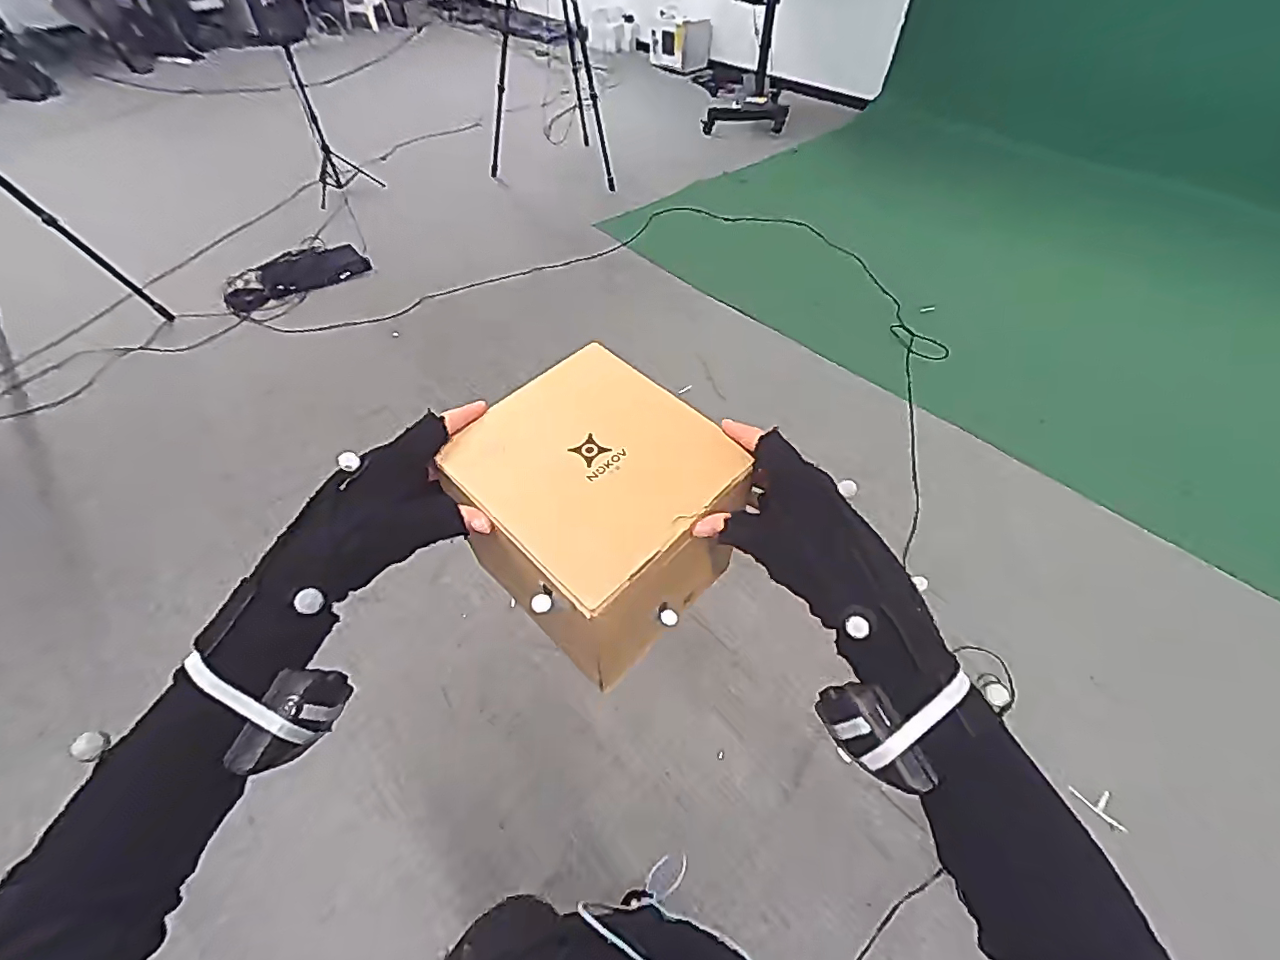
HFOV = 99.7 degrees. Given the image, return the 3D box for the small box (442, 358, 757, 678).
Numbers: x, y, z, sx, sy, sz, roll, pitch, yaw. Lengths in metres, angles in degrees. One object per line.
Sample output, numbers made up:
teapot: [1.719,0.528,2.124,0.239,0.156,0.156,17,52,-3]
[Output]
small box: [-0.033,0.035,0.460,0.179,0.176,0.168,39,62,23]
